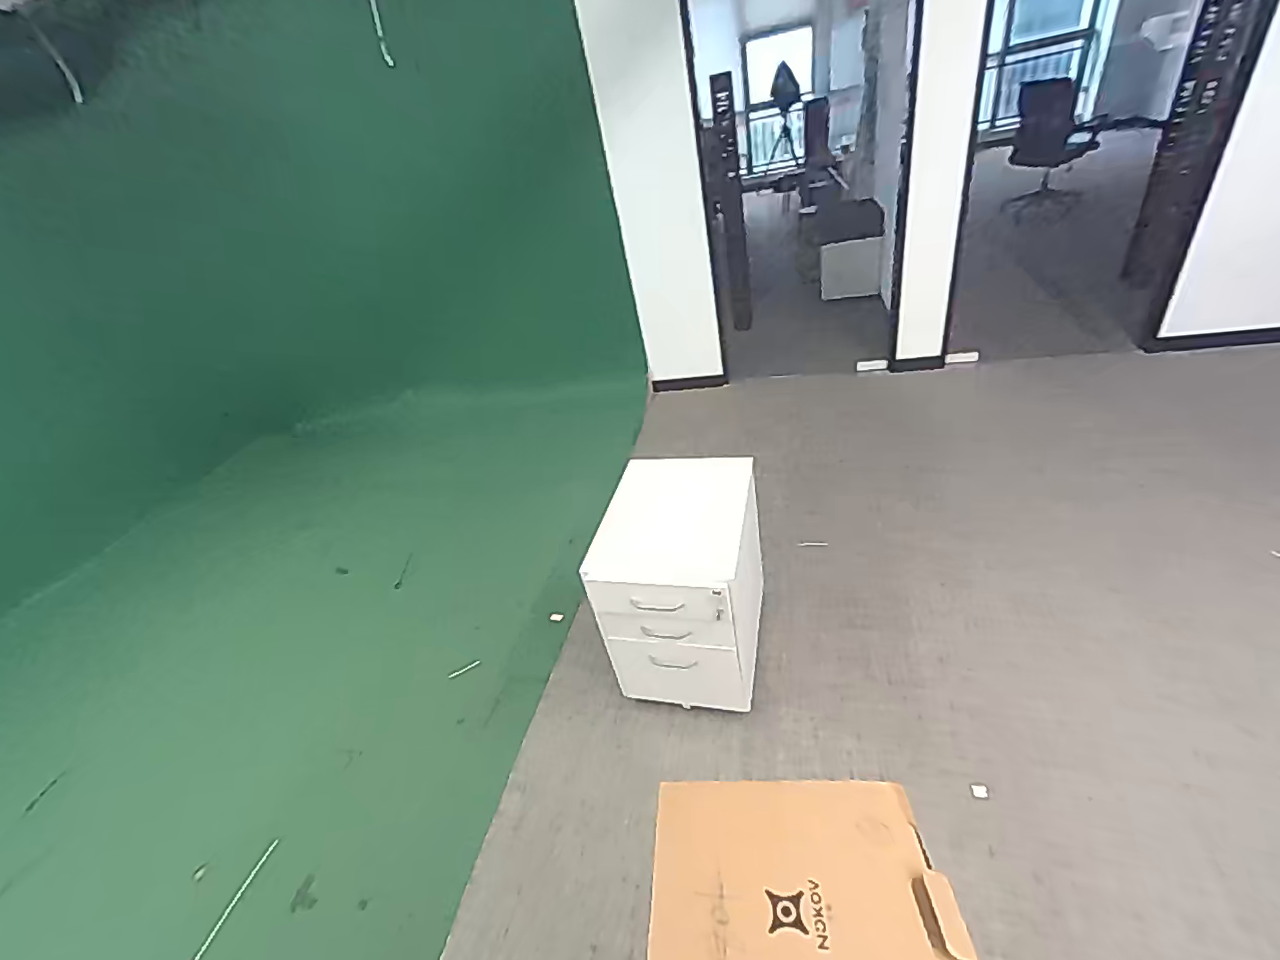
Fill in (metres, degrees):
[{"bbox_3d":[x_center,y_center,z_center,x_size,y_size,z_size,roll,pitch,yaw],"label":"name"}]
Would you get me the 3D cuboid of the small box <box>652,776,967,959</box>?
[{"bbox_3d":[0.107,0.327,0.360,0.179,0.176,0.168,-6,26,10],"label":"small box"}]
